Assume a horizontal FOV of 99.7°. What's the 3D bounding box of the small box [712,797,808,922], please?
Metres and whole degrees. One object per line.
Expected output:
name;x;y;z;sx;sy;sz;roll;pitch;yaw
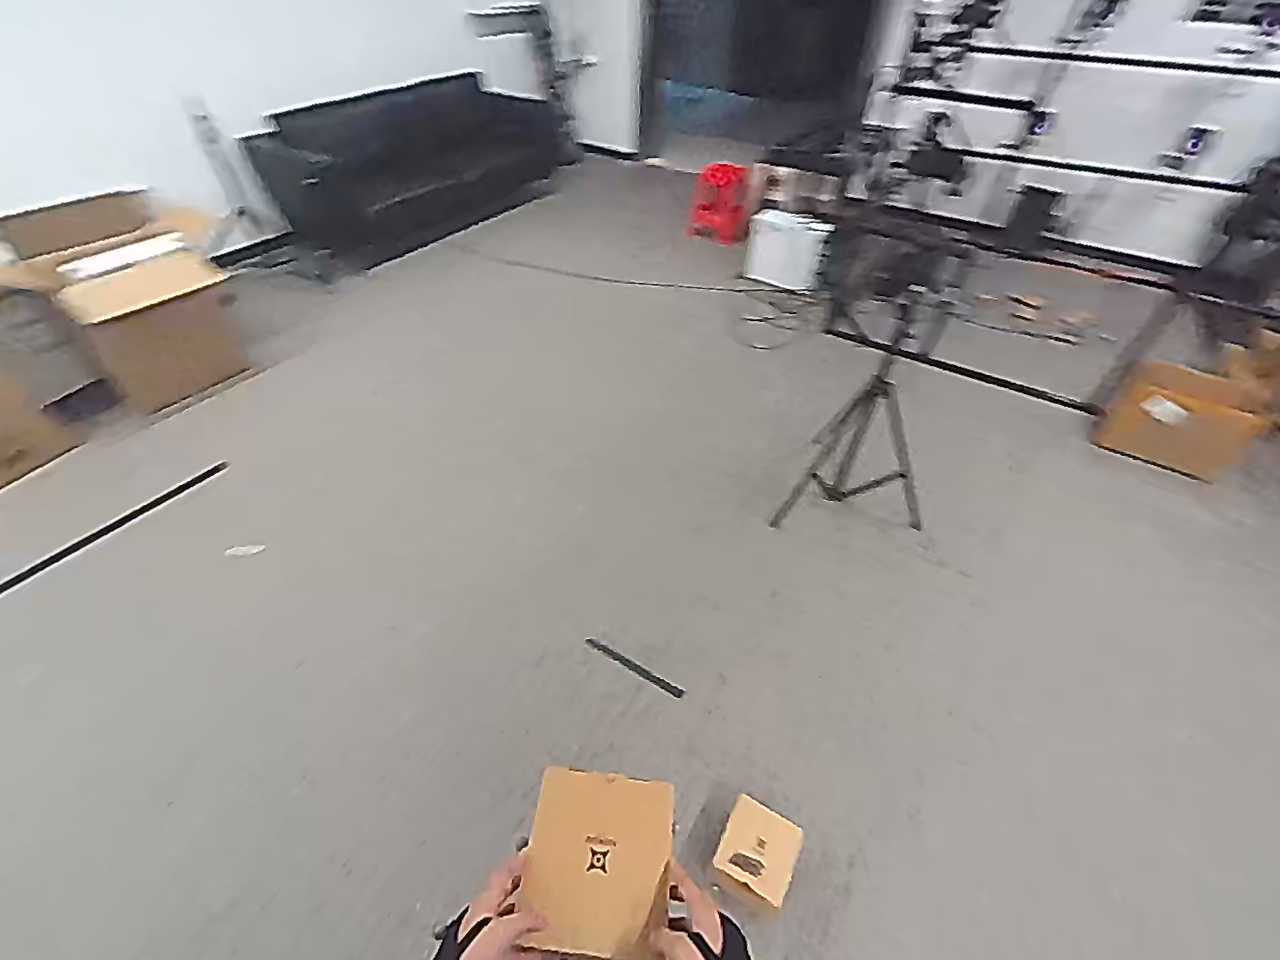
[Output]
small box;0.283;0.916;1.303;0.168;0.176;0.179;24;47;20

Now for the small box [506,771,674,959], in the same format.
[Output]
small box;-0.054;0.482;0.650;0.168;0.176;0.179;8;42;-1
